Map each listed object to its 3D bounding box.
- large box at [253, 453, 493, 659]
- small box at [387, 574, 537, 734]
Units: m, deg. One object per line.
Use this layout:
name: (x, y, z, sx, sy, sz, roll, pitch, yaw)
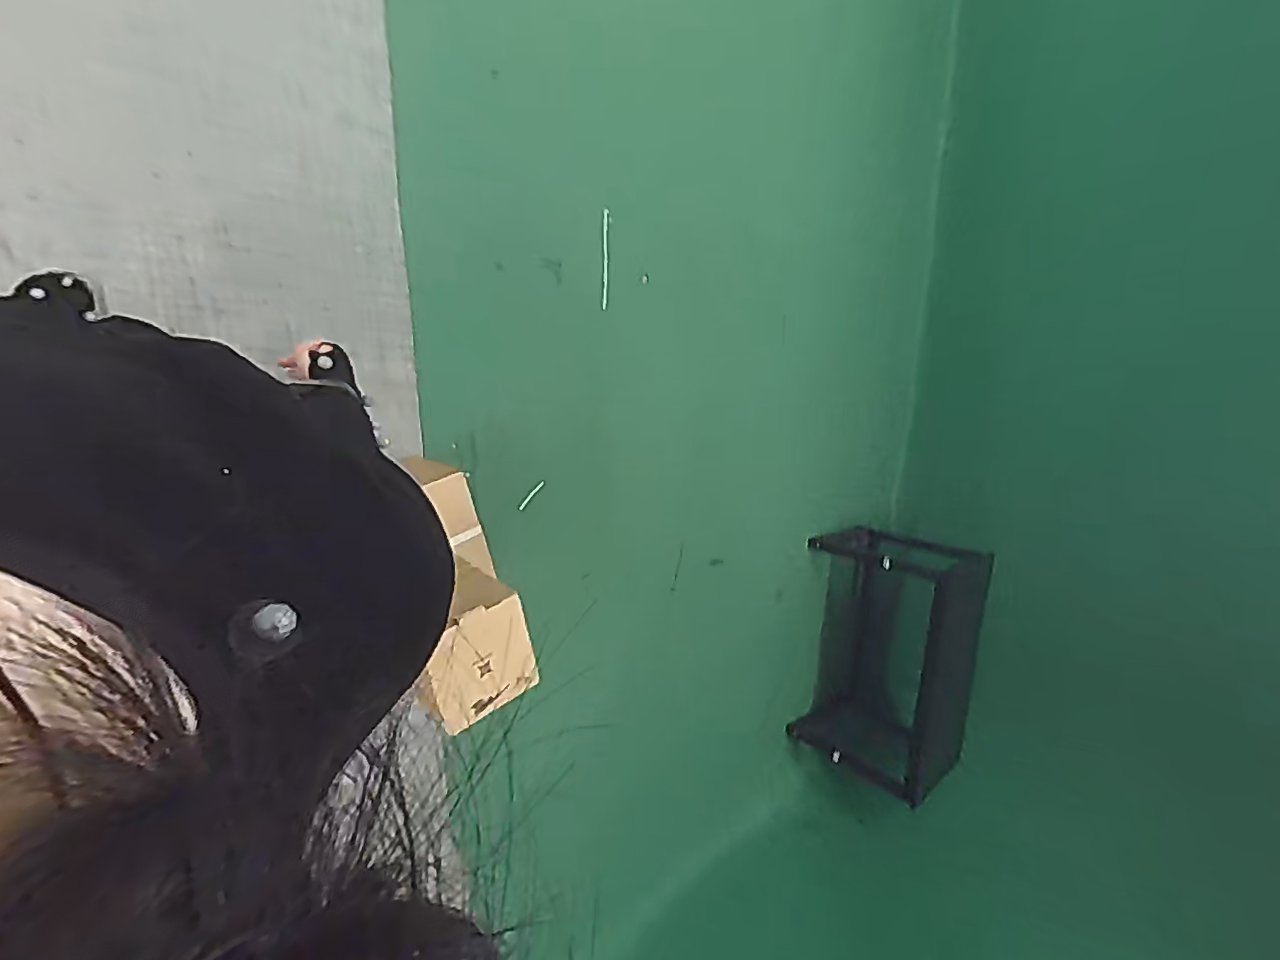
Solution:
large box: (-0.649, 0.156, 1.338, 0.408, 0.320, 0.320, -27, 118, -36)
small box: (-0.298, 0.271, 0.899, 0.168, 0.176, 0.179, -22, 111, -36)
